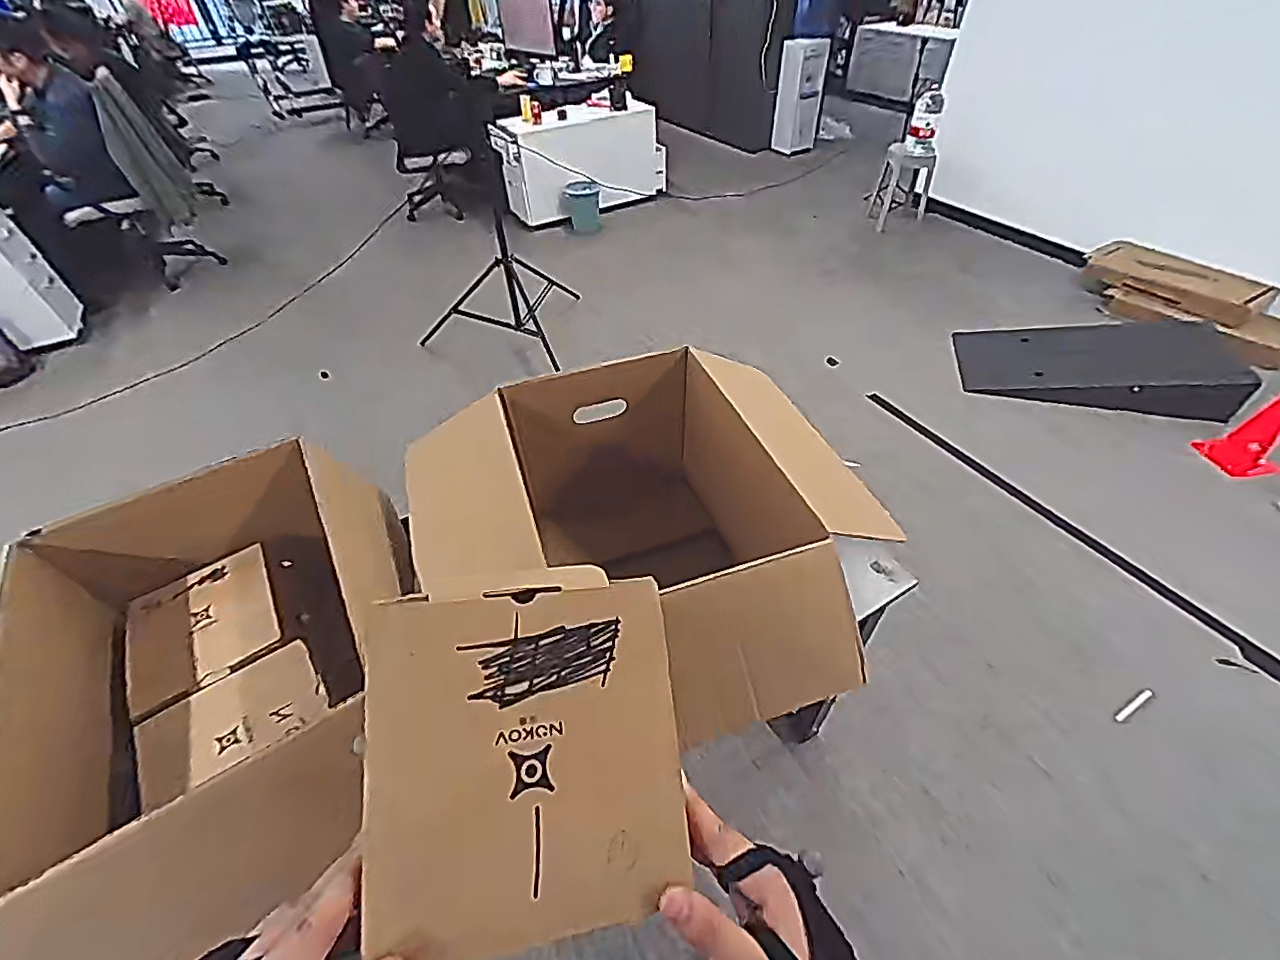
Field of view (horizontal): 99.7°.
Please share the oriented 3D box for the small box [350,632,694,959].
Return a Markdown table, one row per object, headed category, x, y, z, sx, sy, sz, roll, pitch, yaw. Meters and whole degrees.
| category | x | y | z | sx | sy | sz | roll | pitch | yaw |
| --- | --- | --- | --- | --- | --- | --- | --- | --- | --- |
| small box | -0.081 | 0.201 | 0.352 | 0.168 | 0.176 | 0.179 | -1 | 73 | -18 |
